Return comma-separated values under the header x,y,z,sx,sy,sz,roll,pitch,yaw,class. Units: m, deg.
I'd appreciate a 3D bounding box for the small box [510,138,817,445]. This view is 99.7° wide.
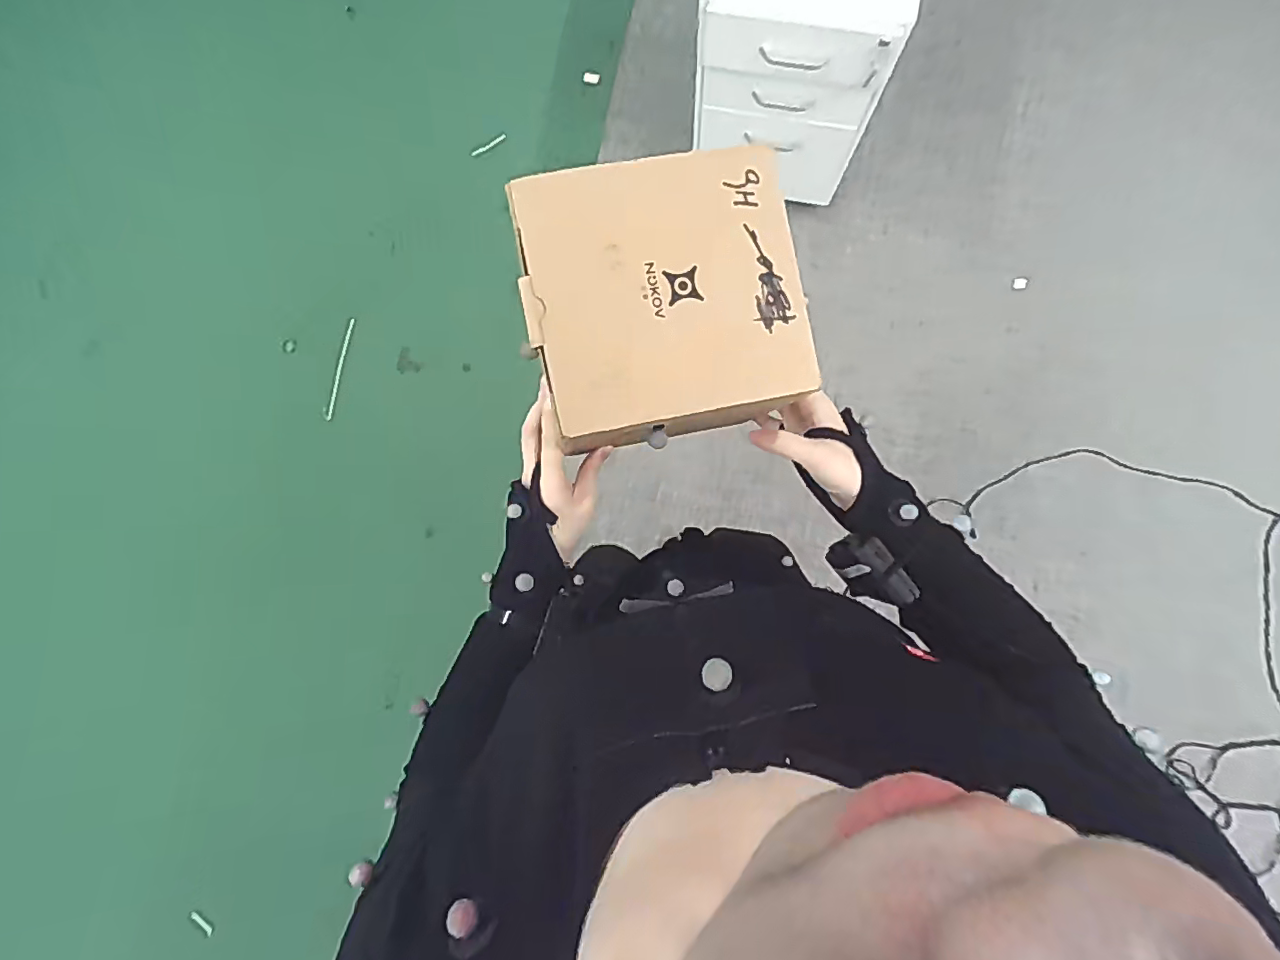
x,y,z,sx,sy,sz,roll,pitch,yaw,class
0.010,-0.126,0.423,0.179,0.176,0.168,-11,90,-6,small box
